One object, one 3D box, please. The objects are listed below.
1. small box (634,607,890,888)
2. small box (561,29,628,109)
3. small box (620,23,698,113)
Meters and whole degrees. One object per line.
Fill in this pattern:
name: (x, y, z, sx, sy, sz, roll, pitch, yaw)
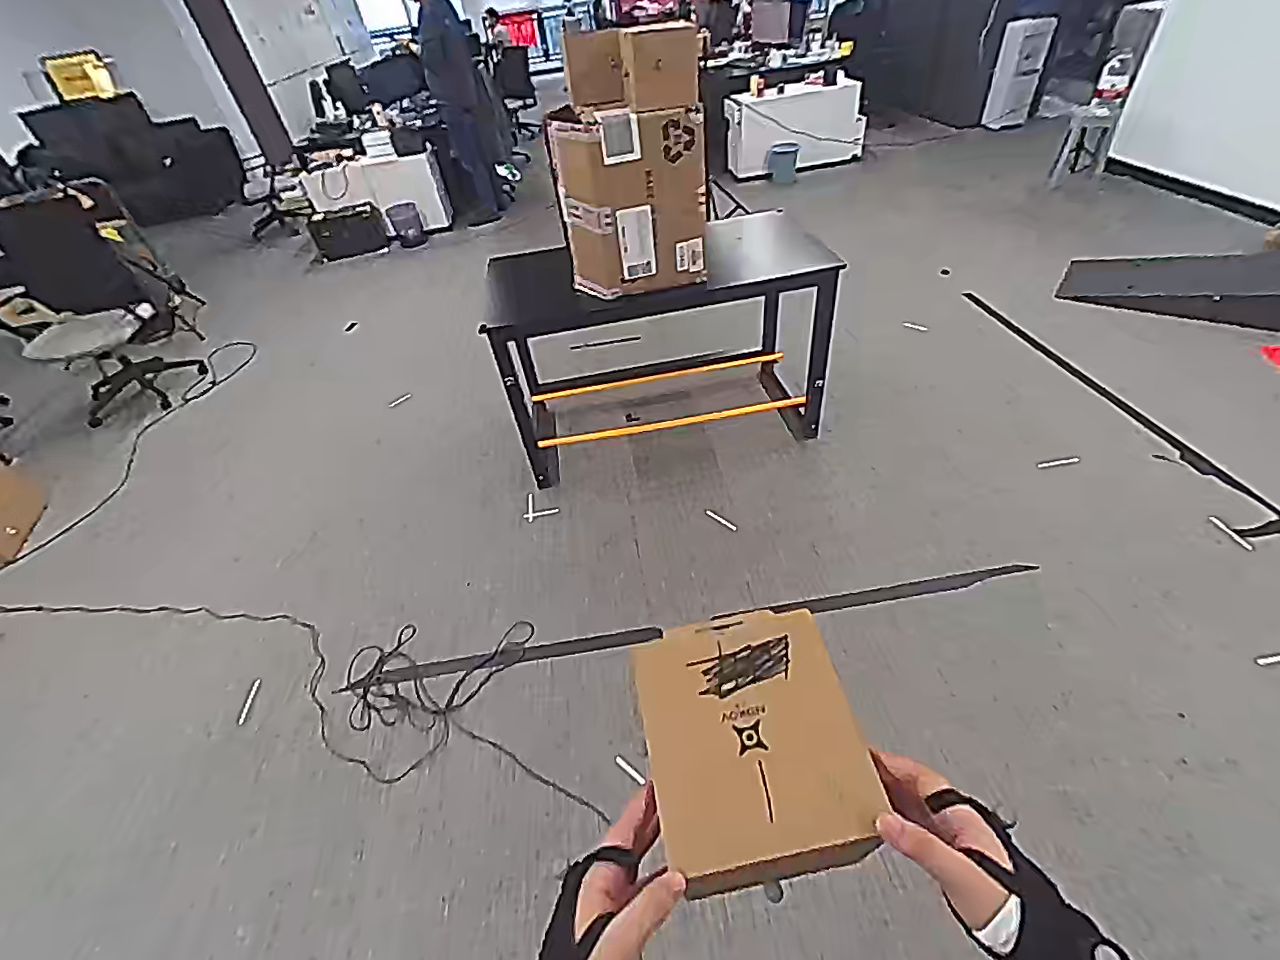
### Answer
small box: (0.095, 0.246, 0.495, 0.168, 0.176, 0.179, -12, 48, 0)
small box: (-0.130, -1.219, 1.603, 0.179, 0.176, 0.168, -12, 40, -5)
small box: (0.054, -1.113, 1.463, 0.179, 0.176, 0.168, -12, 45, -5)
